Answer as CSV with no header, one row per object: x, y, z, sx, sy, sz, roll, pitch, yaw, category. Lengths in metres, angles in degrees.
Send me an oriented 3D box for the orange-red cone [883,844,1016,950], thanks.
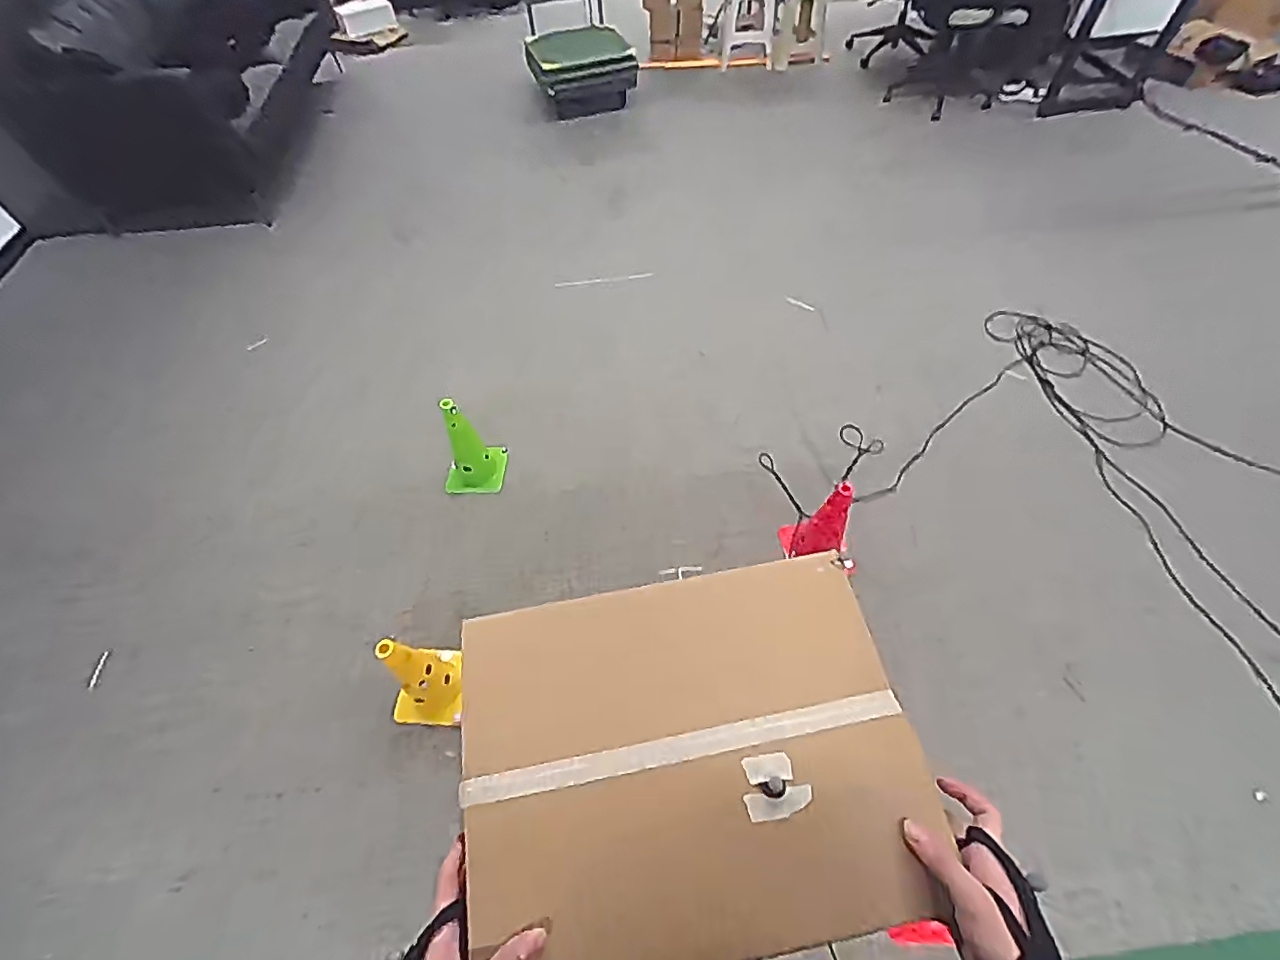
0.640,0.839,1.084,0.199,0.360,0.198,1,56,1,orange-red cone

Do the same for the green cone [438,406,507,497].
-0.596,-0.120,1.807,0.200,0.368,0.202,-1,56,2,green cone

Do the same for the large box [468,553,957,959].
0.045,0.322,0.633,0.408,0.320,0.320,-10,60,-5,large box
